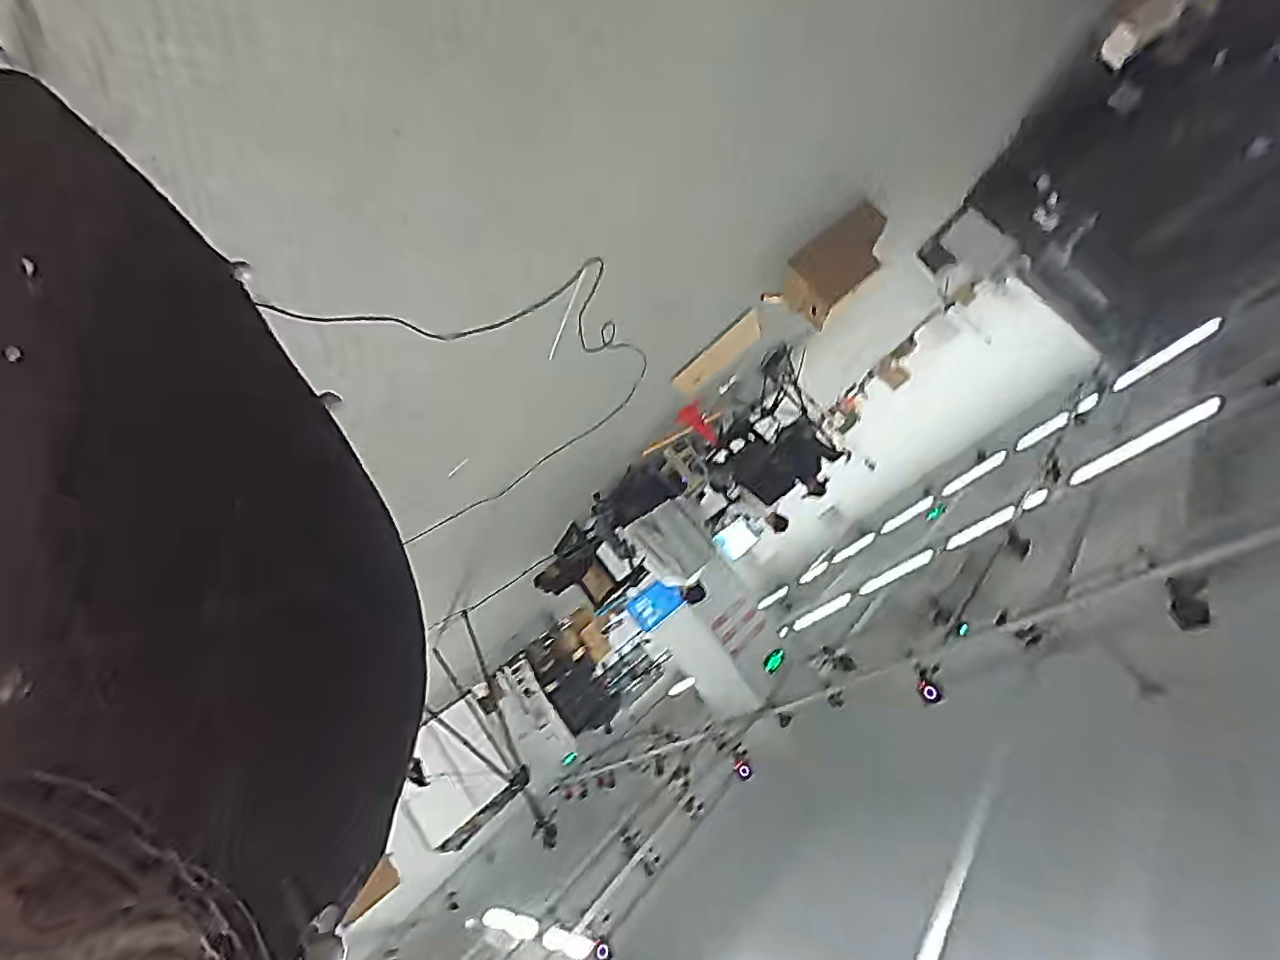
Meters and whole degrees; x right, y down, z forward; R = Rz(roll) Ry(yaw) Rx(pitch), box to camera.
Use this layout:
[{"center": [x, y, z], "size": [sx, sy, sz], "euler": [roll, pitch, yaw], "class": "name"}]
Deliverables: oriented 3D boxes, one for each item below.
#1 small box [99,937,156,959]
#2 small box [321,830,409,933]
[{"center": [-1.232, 1.201, 1.242], "size": [0.168, 0.176, 0.179], "euler": [-31, 165, -36], "class": "small box"}, {"center": [-0.777, 1.124, 1.526], "size": [0.168, 0.176, 0.179], "euler": [-28, 164, -39], "class": "small box"}]
